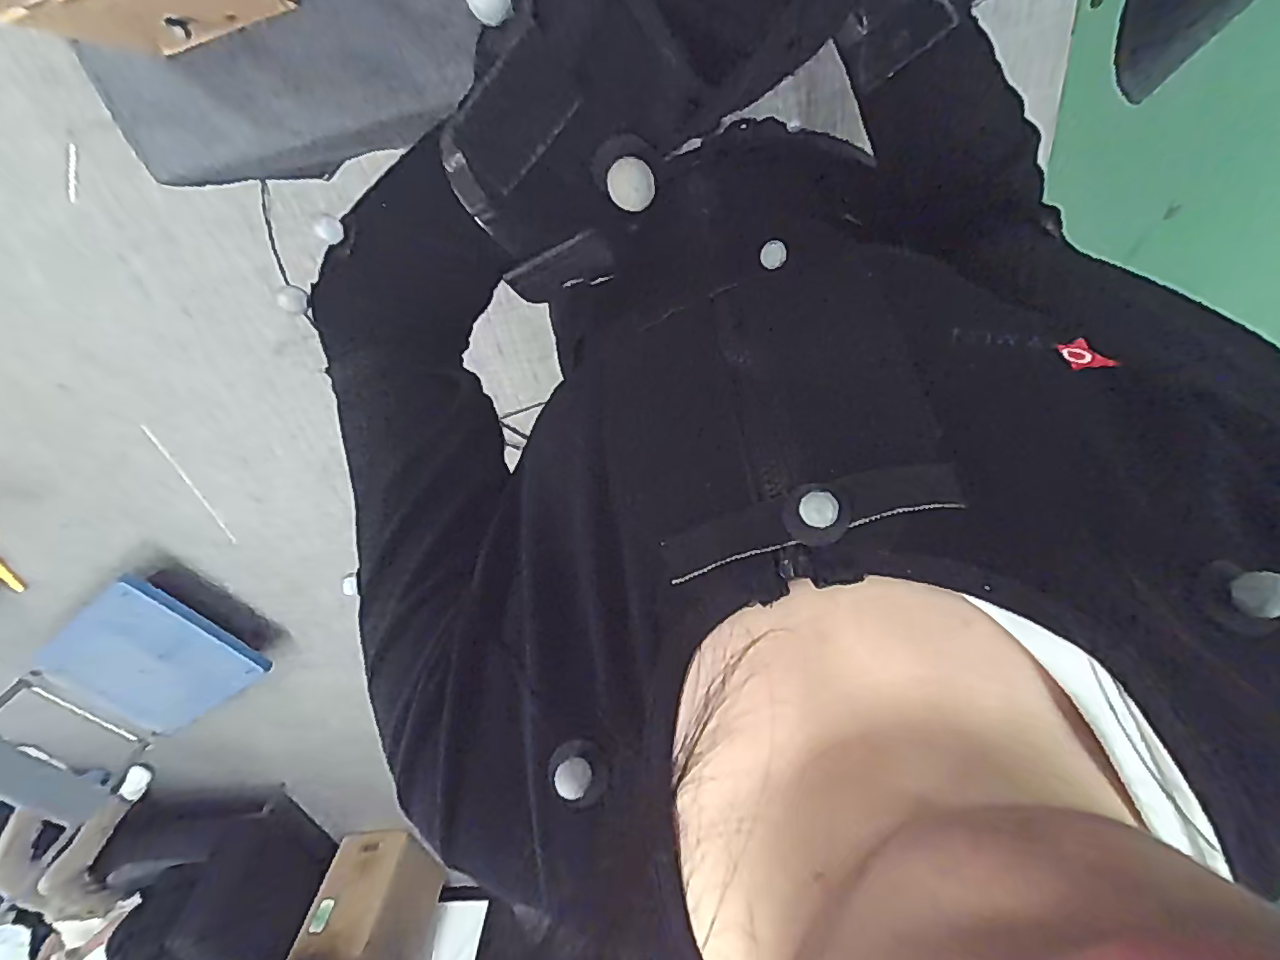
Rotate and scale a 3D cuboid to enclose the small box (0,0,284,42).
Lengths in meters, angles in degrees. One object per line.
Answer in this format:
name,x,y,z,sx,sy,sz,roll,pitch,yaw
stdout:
small box,-0.434,-0.485,0.425,0.168,0.176,0.179,-10,122,10
